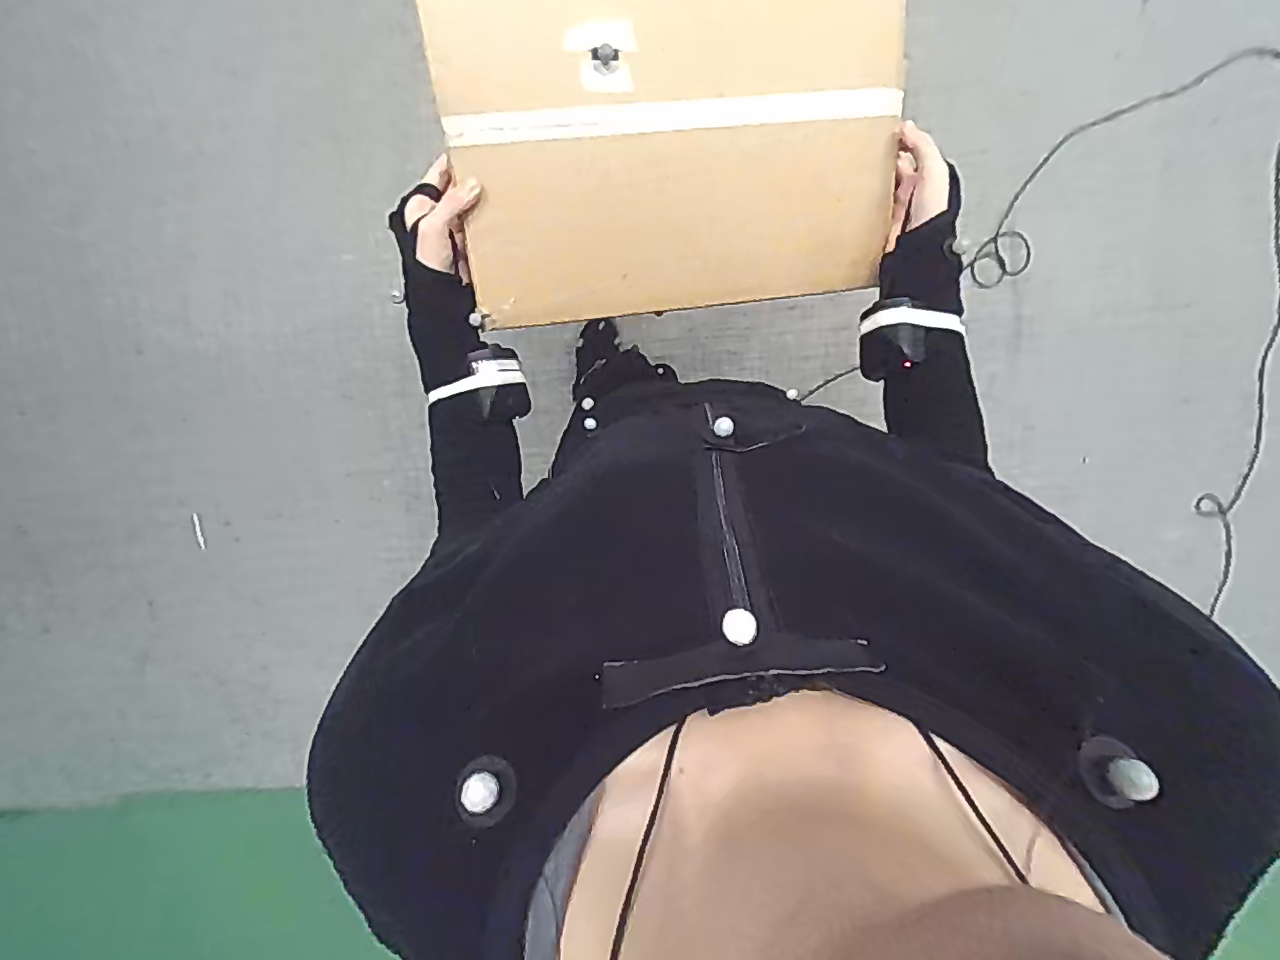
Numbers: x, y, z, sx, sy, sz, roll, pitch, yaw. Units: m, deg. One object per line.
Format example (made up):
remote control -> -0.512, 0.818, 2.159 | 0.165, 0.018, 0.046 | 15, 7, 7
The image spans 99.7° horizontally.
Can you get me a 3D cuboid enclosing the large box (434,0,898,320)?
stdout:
large box -> 0.016, -0.375, 0.621 | 0.408, 0.320, 0.320 | -8, 111, -8
